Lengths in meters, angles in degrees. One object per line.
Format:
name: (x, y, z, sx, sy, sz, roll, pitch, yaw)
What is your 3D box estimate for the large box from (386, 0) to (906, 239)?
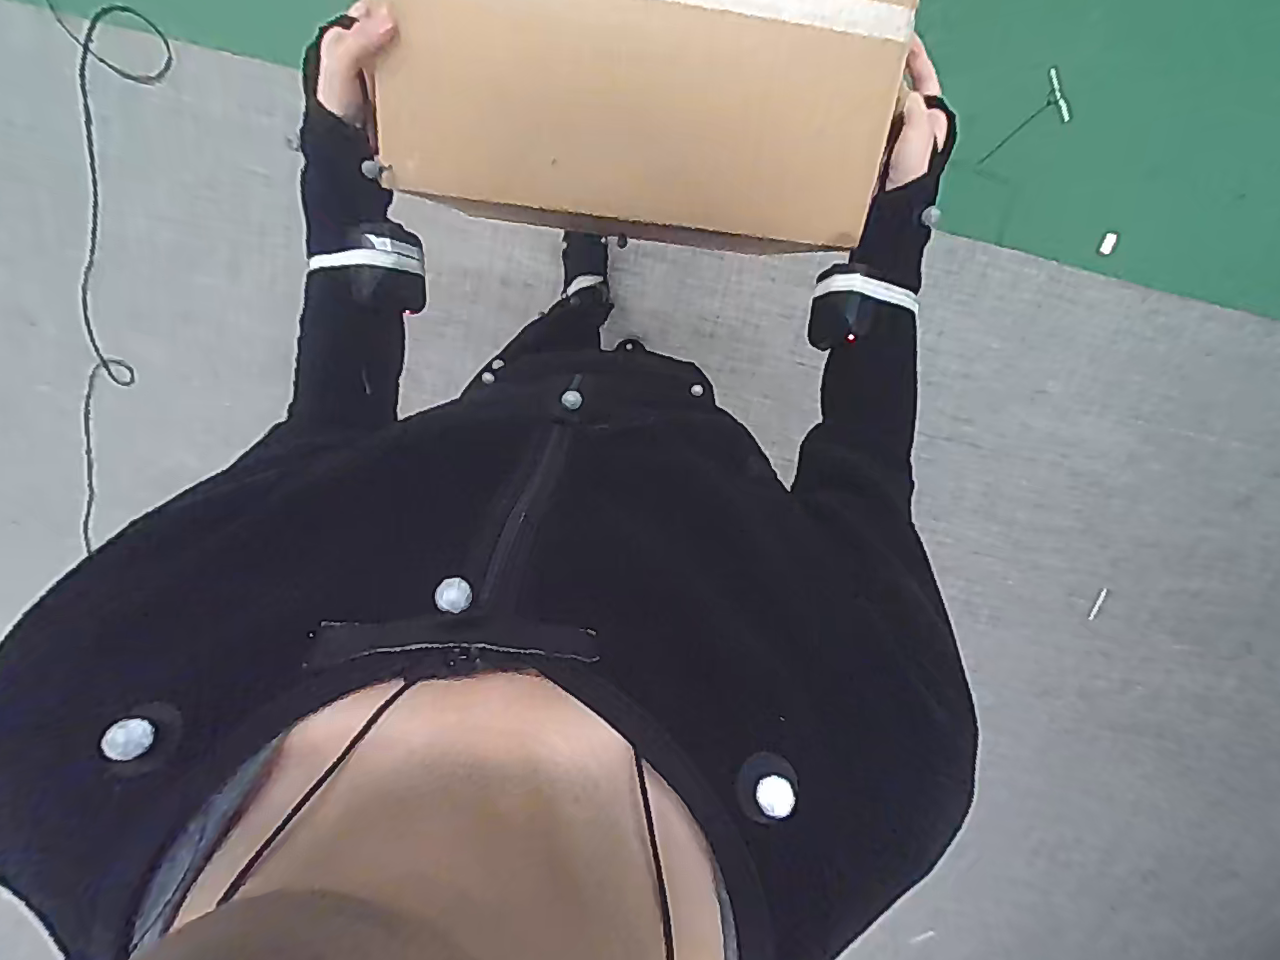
large box: (0.003, -0.431, 0.548, 0.408, 0.320, 0.320, 5, 111, -5)
